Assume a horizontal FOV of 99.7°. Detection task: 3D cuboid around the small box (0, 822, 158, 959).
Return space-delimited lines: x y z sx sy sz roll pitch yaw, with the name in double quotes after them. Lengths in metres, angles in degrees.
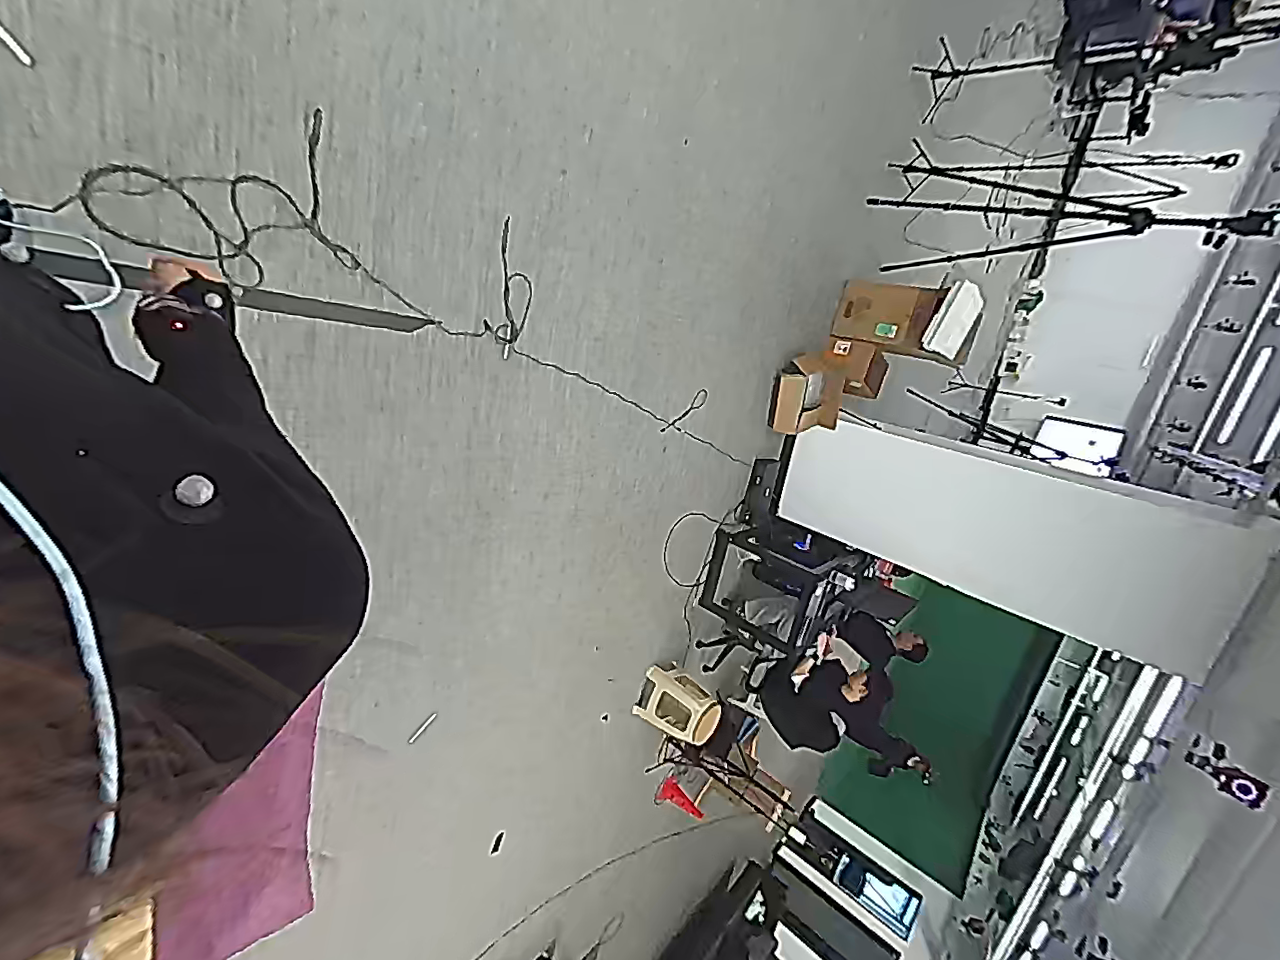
-0.796 0.618 0.747 0.168 0.176 0.179 -3 110 -51 "small box"
